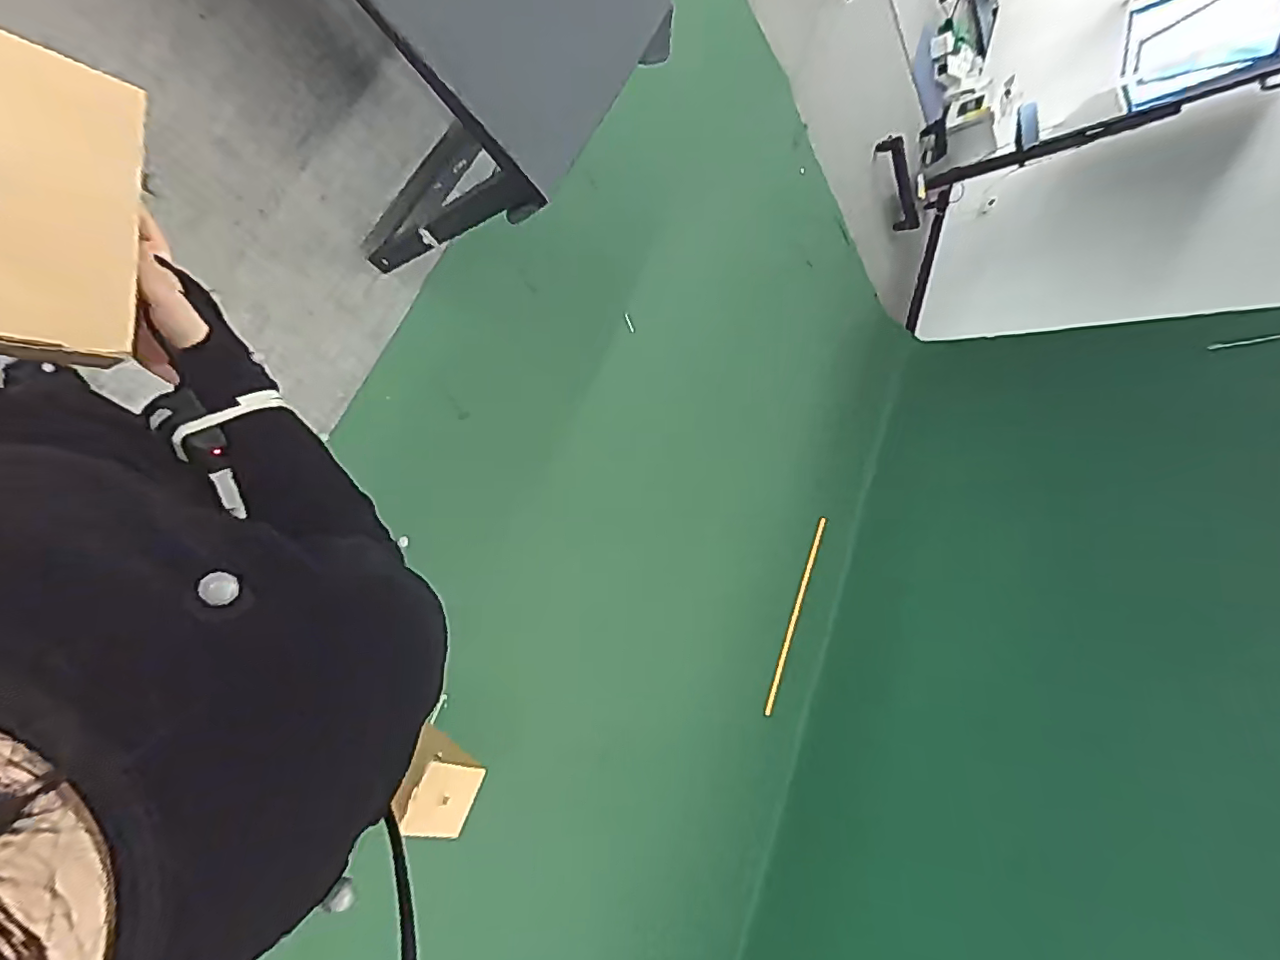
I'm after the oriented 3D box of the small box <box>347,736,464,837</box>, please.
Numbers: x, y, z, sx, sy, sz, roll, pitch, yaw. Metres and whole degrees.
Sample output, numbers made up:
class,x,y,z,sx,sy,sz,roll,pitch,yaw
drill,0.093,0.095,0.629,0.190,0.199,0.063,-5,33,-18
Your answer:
class,x,y,z,sx,sy,sz,roll,pitch,yaw
small box,-0.586,0.762,1.350,0.179,0.176,0.168,40,65,-43

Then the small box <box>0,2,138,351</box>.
class,x,y,z,sx,sy,sz,roll,pitch,yaw
small box,-0.439,-0.186,0.331,0.168,0.176,0.179,3,93,-51
